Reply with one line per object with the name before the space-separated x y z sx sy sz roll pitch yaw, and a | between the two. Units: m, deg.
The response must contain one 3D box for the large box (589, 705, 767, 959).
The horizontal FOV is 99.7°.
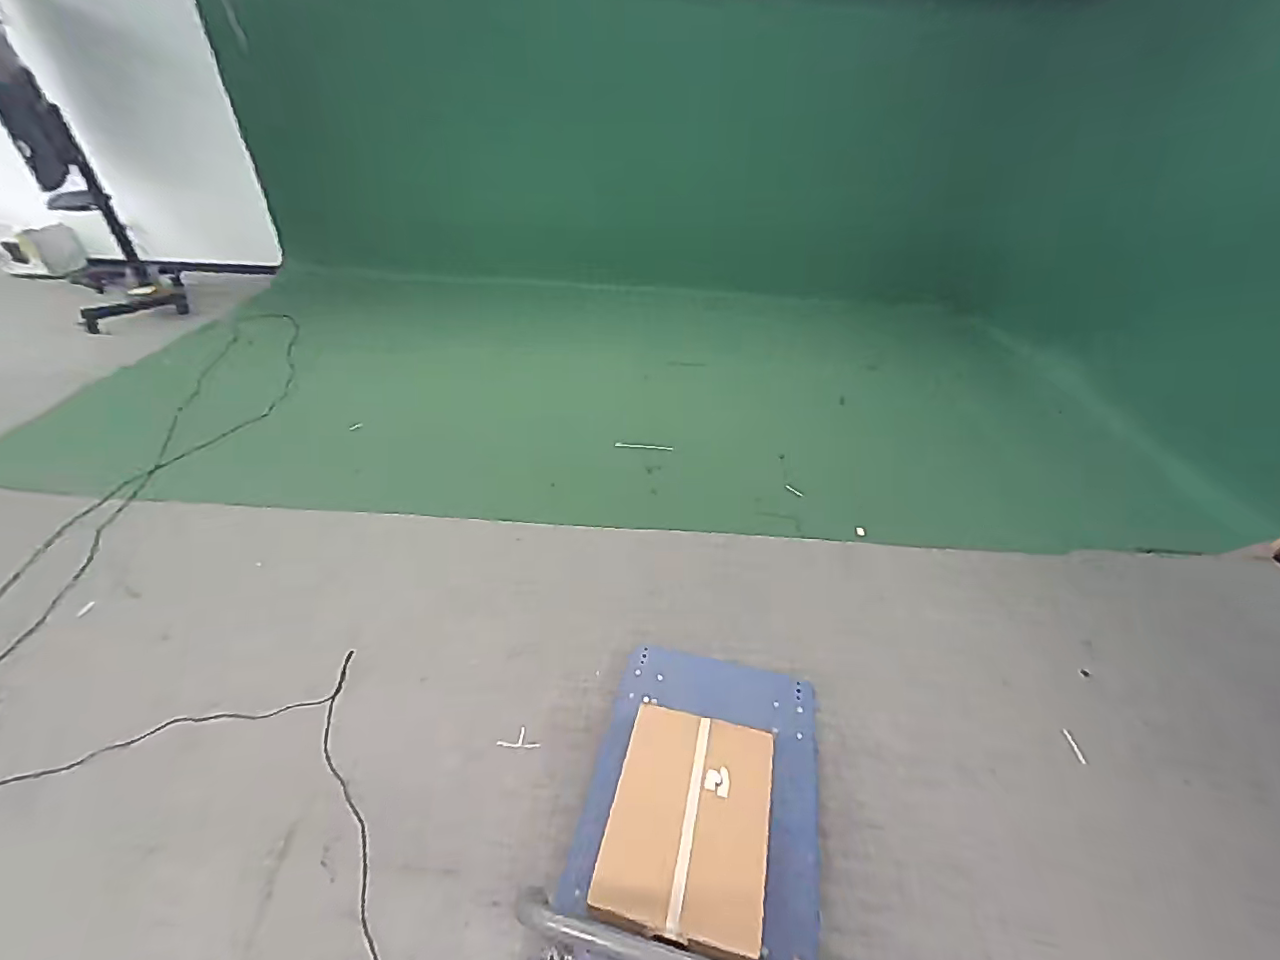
large box | 0.094 0.792 1.194 0.320 0.320 0.408 10 37 10
